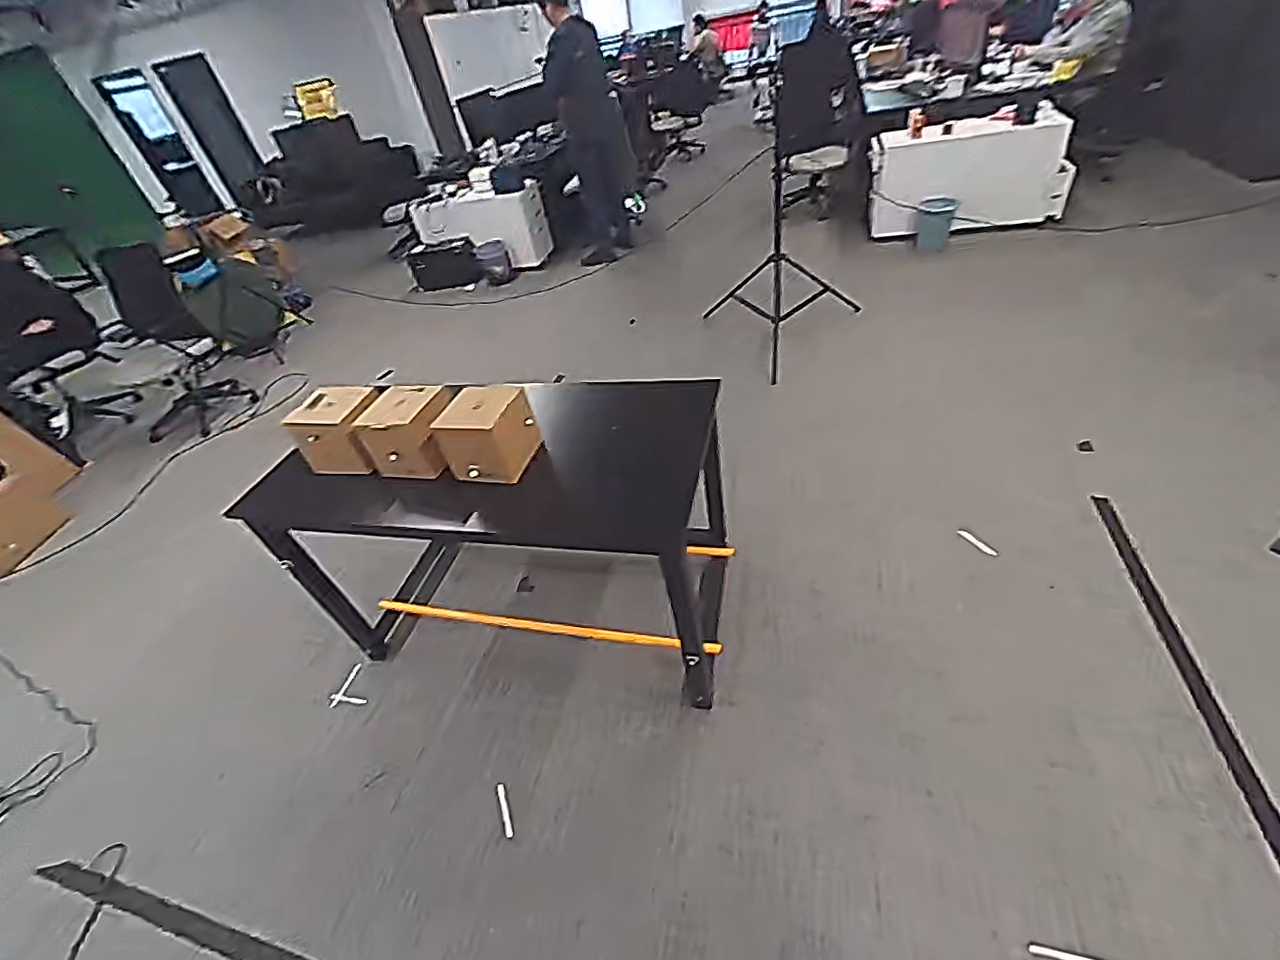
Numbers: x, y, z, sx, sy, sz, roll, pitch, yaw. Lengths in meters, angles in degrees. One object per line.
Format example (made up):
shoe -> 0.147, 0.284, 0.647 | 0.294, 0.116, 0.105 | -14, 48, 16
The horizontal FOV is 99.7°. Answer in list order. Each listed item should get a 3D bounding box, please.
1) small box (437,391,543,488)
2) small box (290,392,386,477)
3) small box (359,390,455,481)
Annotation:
small box -> -0.356, -0.102, 1.327 | 0.168, 0.176, 0.179 | 2, 43, 18
small box -> -0.777, -0.122, 1.455 | 0.179, 0.176, 0.168 | 1, 42, 15
small box -> -0.571, -0.114, 1.395 | 0.168, 0.176, 0.179 | 2, 43, 17
